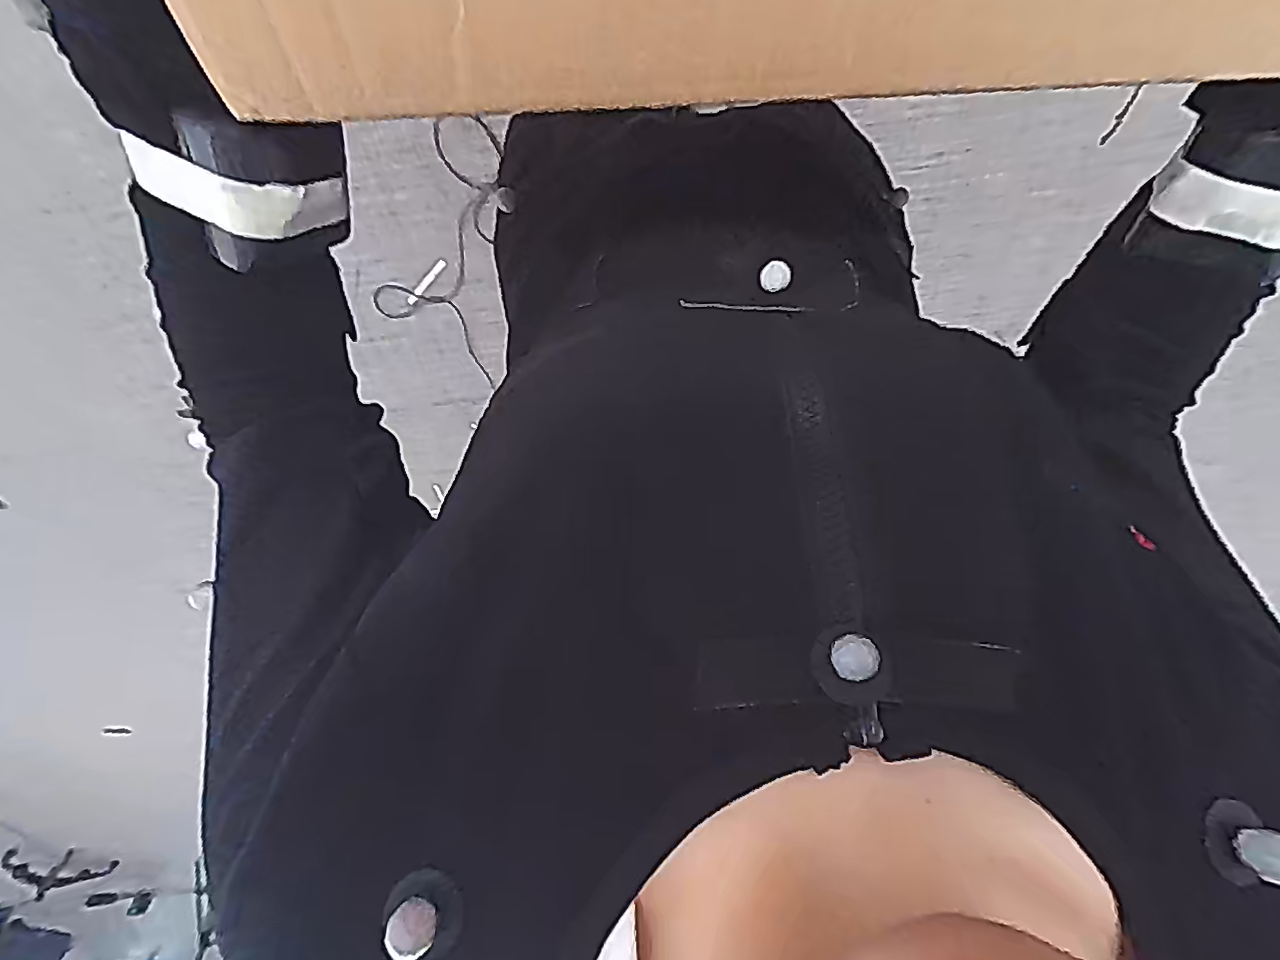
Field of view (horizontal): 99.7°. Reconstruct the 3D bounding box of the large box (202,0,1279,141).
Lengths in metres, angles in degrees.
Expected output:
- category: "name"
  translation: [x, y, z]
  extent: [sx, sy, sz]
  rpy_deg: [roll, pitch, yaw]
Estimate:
- category: "large box"
  translation: [0.046, -0.353, 0.175]
  extent: [0.408, 0.320, 0.320]
  rpy_deg: [-4, 141, 0]
